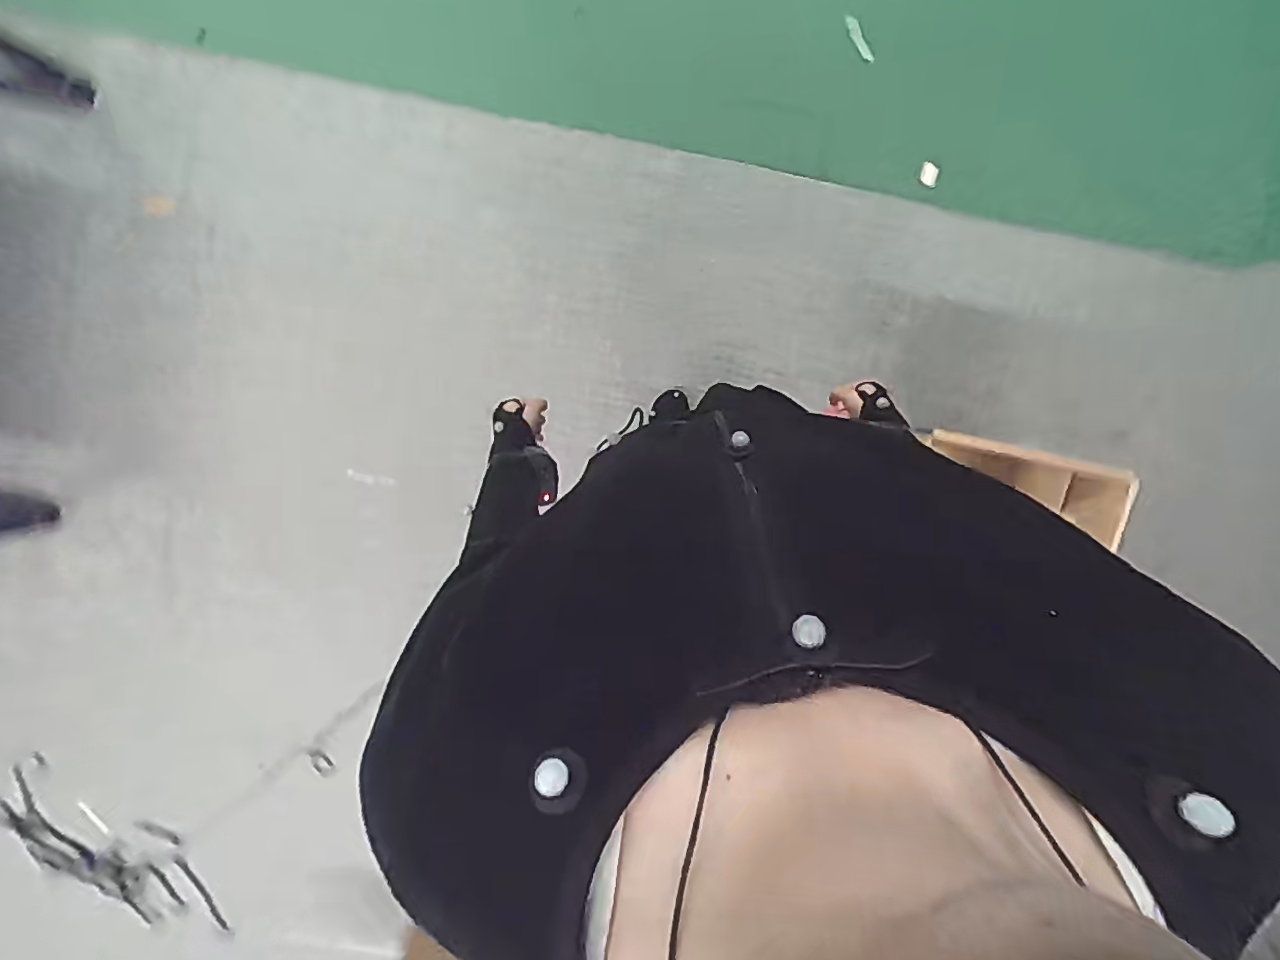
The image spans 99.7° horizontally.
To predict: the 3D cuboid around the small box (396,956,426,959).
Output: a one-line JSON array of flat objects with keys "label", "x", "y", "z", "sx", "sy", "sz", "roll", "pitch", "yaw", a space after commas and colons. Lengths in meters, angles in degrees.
[{"label": "small box", "x": -0.611, "y": 1.434, "z": 1.449, "sx": 0.179, "sy": 0.176, "sz": 0.168, "roll": 11, "pitch": 96, "yaw": -1}]
